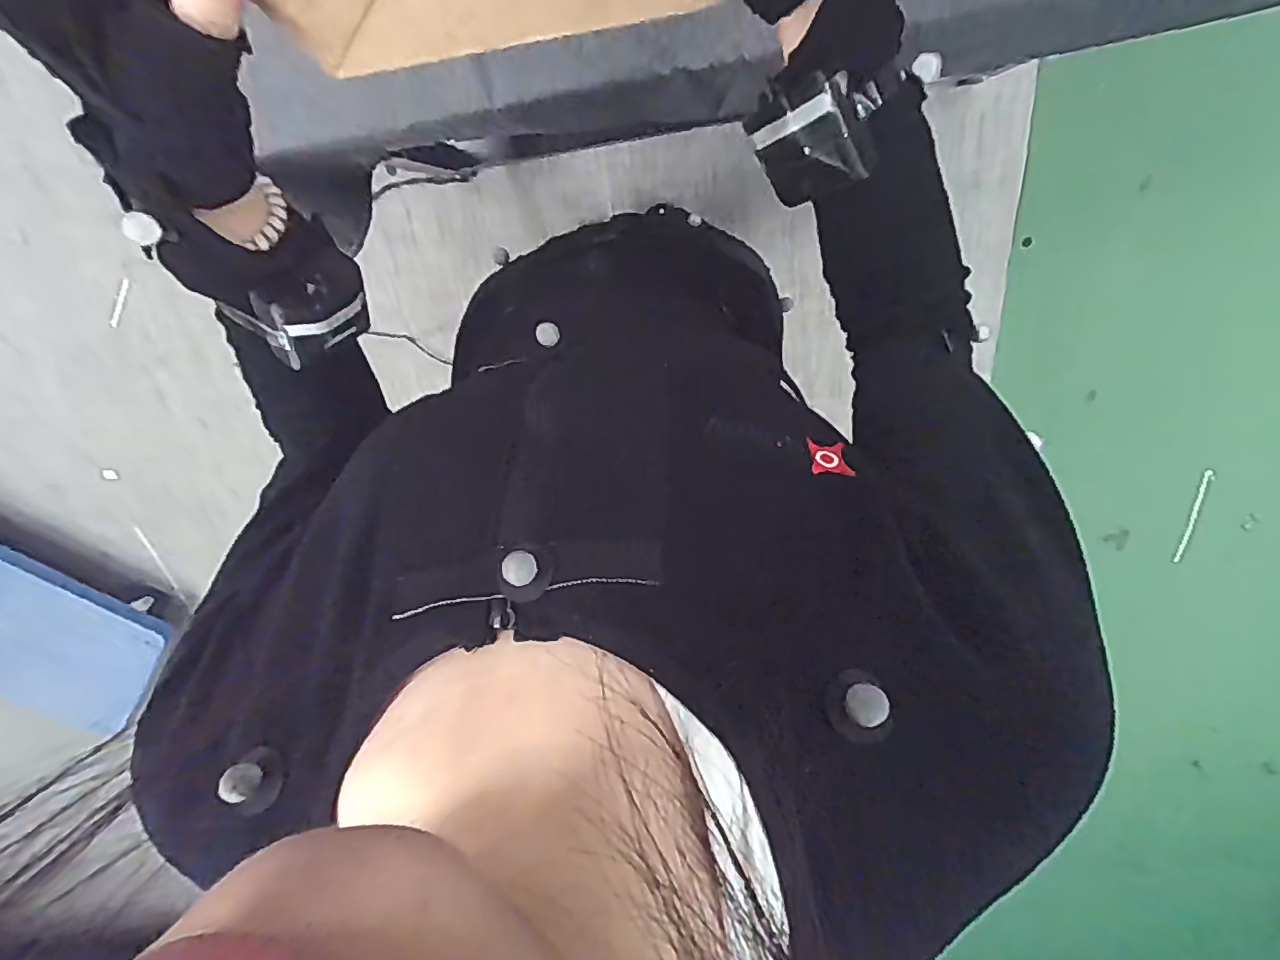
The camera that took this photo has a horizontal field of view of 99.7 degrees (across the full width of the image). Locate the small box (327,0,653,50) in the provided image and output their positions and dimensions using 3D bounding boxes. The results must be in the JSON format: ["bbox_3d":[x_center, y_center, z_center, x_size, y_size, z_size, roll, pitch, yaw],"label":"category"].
[{"bbox_3d":[-0.061,-0.260,0.138,0.179,0.168,0.176,4,90,16],"label":"small box"}]
